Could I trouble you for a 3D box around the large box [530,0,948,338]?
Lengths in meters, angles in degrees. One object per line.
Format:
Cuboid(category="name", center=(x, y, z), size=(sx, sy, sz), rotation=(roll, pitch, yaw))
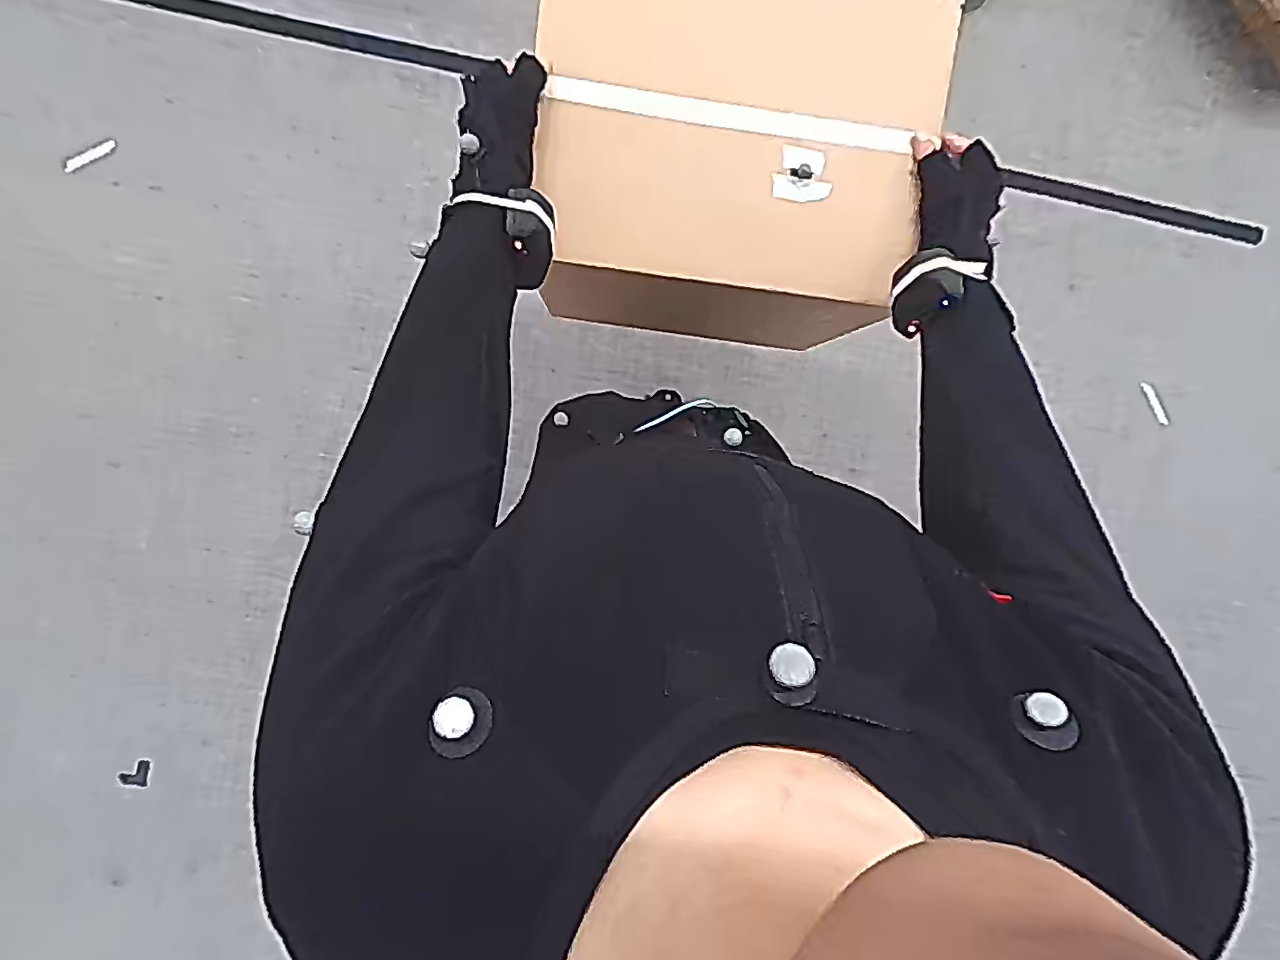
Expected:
Cuboid(category="large box", center=(0.087, -0.378, 0.687), size=(0.408, 0.320, 0.320), rotation=(6, 96, -5))
